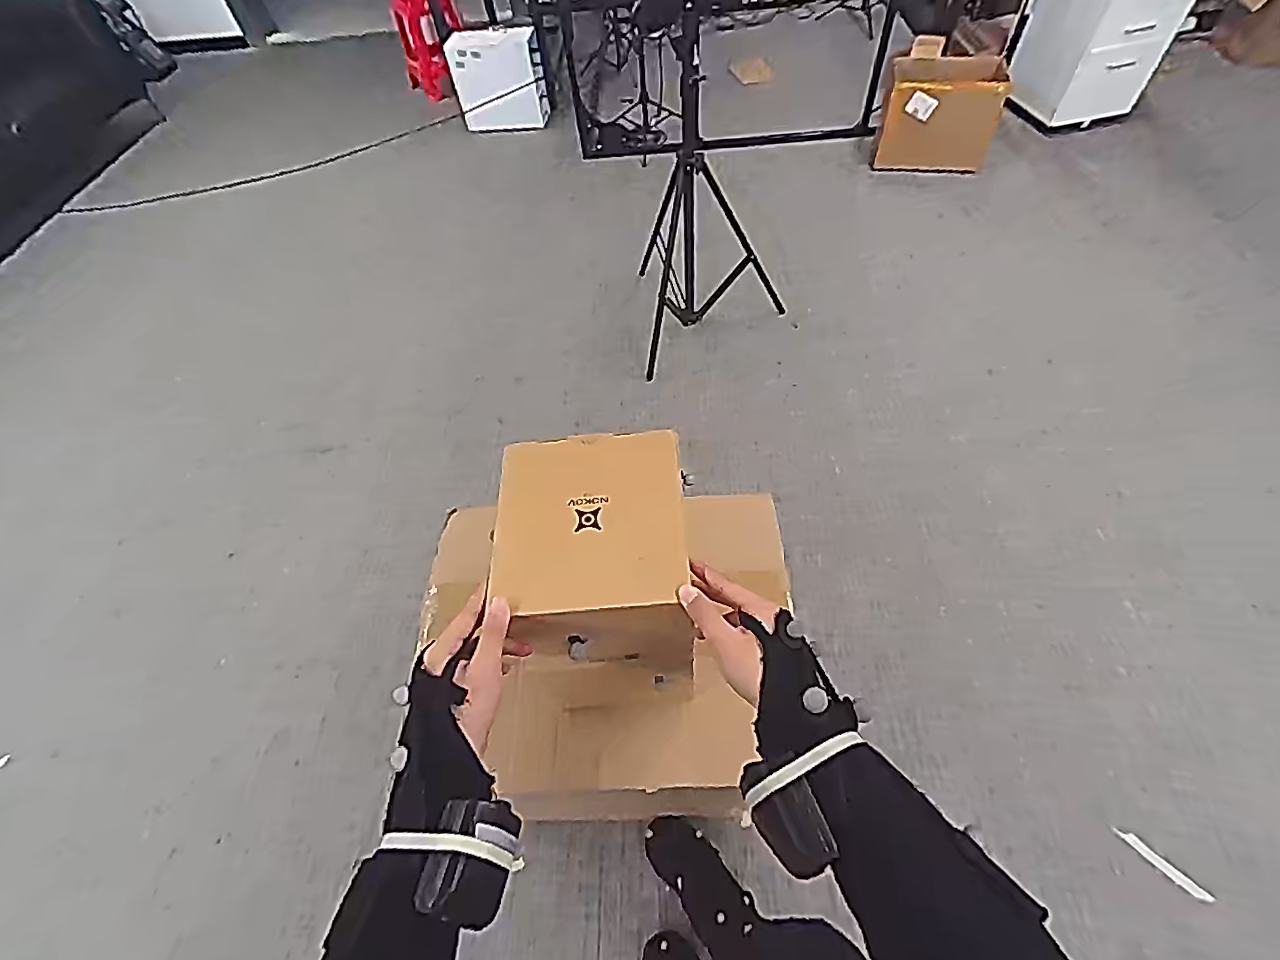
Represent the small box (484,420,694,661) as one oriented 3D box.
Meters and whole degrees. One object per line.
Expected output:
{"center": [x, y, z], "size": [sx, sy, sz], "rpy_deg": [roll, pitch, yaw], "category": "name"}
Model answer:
{"center": [-0.037, 0.068, 0.525], "size": [0.168, 0.176, 0.179], "rpy_deg": [-5, 55, 2], "category": "small box"}
